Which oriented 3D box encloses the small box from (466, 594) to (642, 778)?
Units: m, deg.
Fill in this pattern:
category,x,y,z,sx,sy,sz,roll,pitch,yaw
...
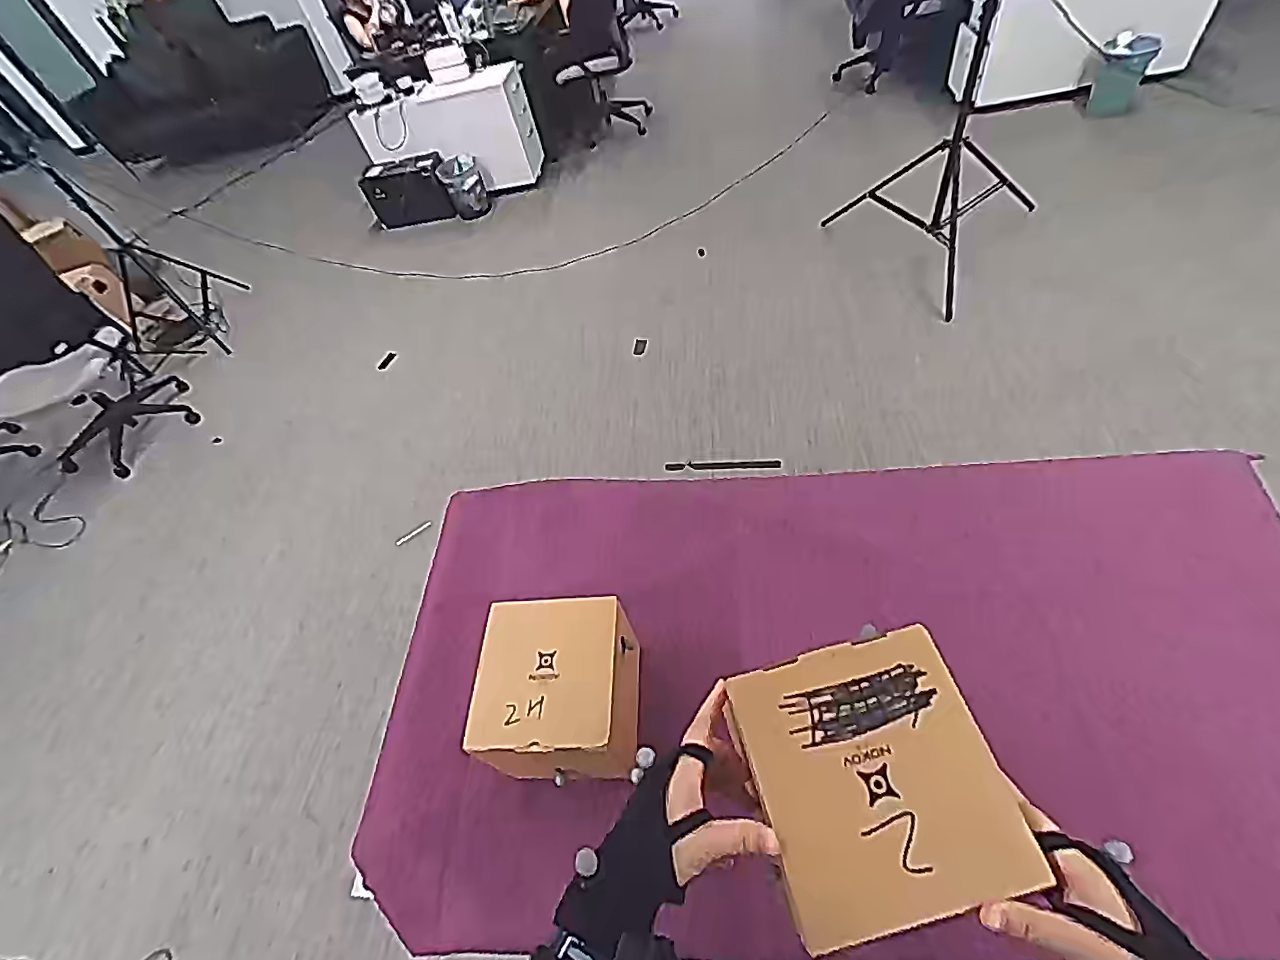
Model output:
category,x,y,z,sx,sy,sz,roll,pitch,yaw
small box,-0.093,0.263,0.683,0.168,0.176,0.179,-5,52,9
